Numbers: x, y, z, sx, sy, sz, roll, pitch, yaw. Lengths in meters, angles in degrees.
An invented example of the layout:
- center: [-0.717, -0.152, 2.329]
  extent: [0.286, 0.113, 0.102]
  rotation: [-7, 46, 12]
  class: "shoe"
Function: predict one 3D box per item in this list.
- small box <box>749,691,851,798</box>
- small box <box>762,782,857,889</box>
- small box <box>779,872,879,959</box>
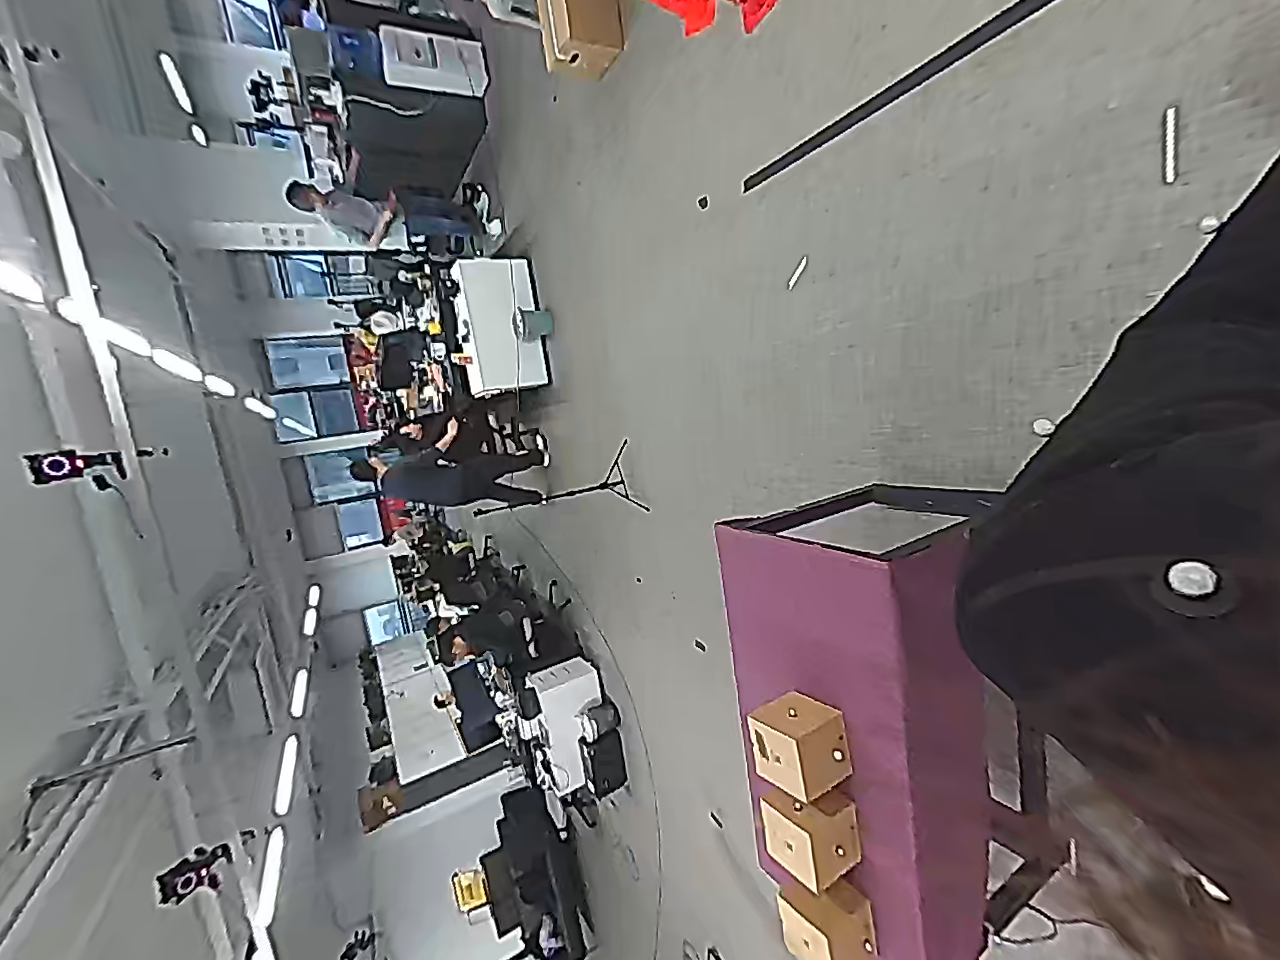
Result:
- center: [0.411, 0.668, 1.392]
  extent: [0.179, 0.176, 0.168]
  rotation: [-4, 98, 61]
  class: "small box"
- center: [0.450, 0.904, 1.421]
  extent: [0.179, 0.176, 0.168]
  rotation: [3, 104, 61]
  class: "small box"
- center: [0.502, 1.173, 1.442]
  extent: [0.179, 0.176, 0.168]
  rotation: [-1, 101, 61]
  class: "small box"
